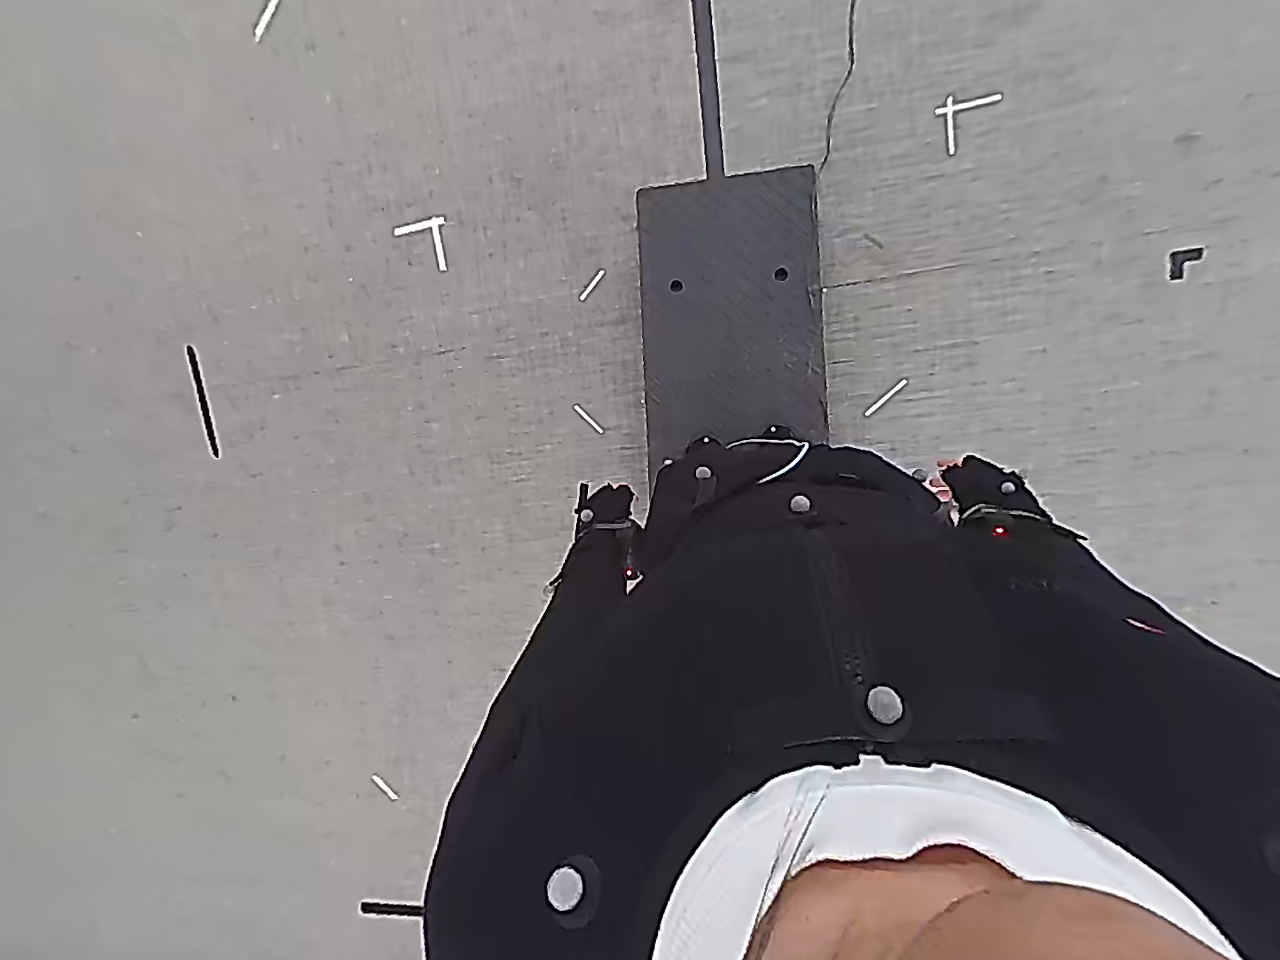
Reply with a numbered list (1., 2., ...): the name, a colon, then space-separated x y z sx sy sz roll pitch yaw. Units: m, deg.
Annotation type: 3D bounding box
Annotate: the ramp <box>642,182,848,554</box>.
1. ramp: 0.271 -0.305 1.497 0.509 0.206 0.991 -6 95 12
